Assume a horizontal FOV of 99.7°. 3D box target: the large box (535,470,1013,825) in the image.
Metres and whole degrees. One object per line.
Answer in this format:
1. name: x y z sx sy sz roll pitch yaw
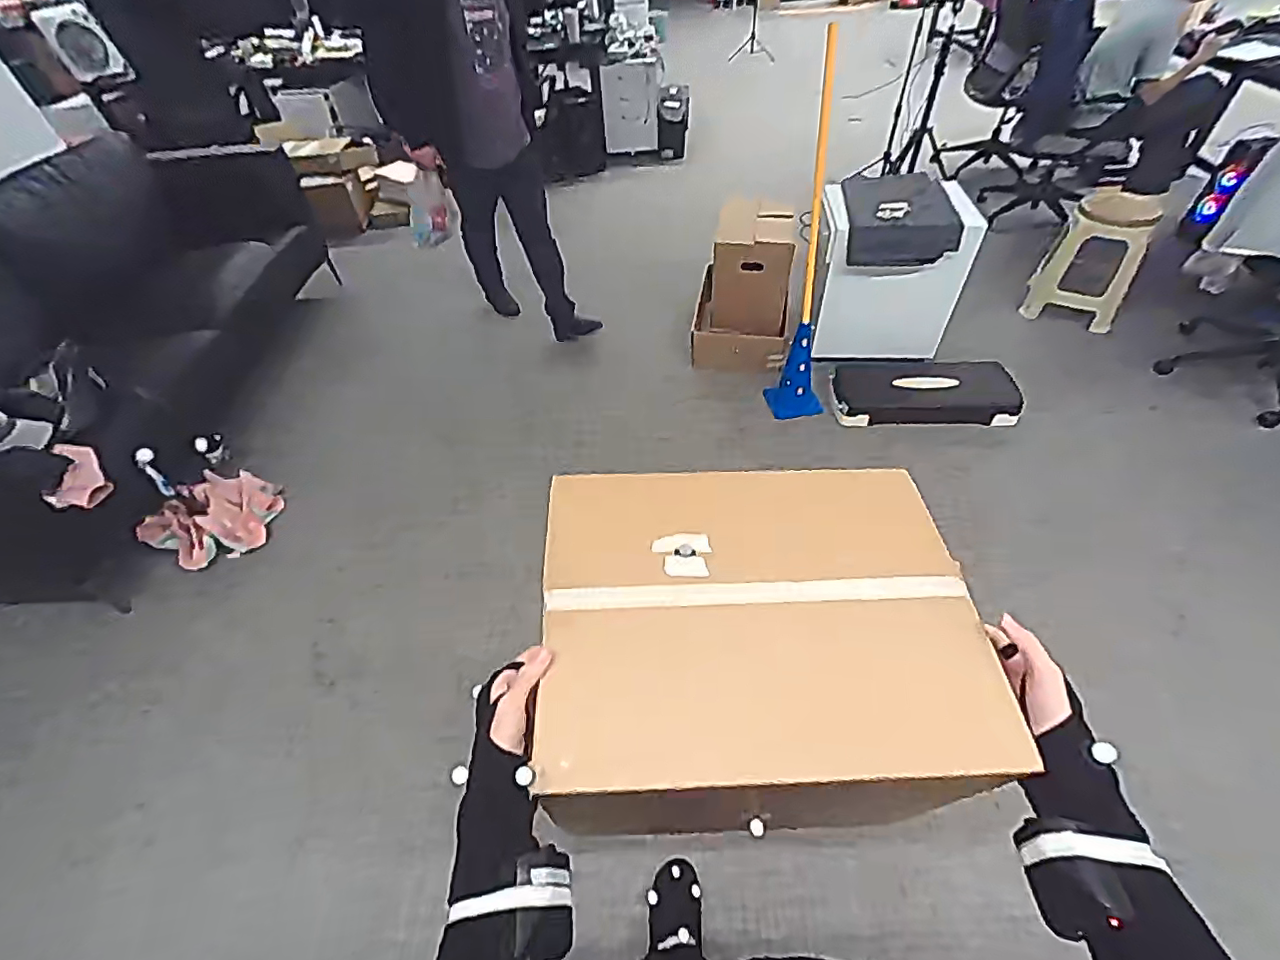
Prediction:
1. large box: 0.106 0.208 0.646 0.408 0.320 0.320 -2 51 -2
